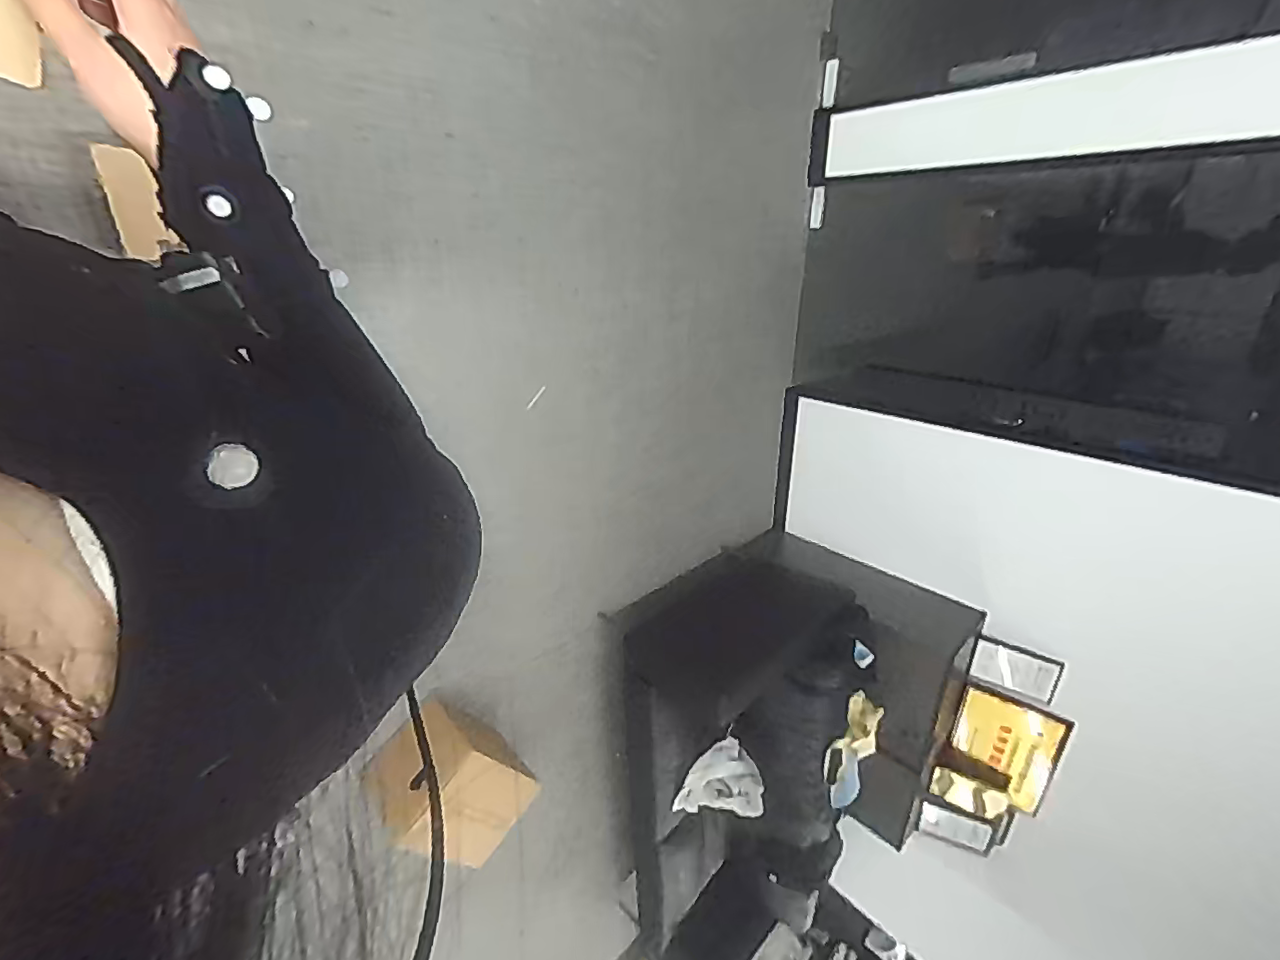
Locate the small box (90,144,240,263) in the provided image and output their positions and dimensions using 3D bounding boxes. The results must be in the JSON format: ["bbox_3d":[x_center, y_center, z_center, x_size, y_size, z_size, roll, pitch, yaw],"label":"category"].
[{"bbox_3d":[-0.870,-0.494,0.991,0.168,0.176,0.179,-20,120,-39],"label":"small box"}]
